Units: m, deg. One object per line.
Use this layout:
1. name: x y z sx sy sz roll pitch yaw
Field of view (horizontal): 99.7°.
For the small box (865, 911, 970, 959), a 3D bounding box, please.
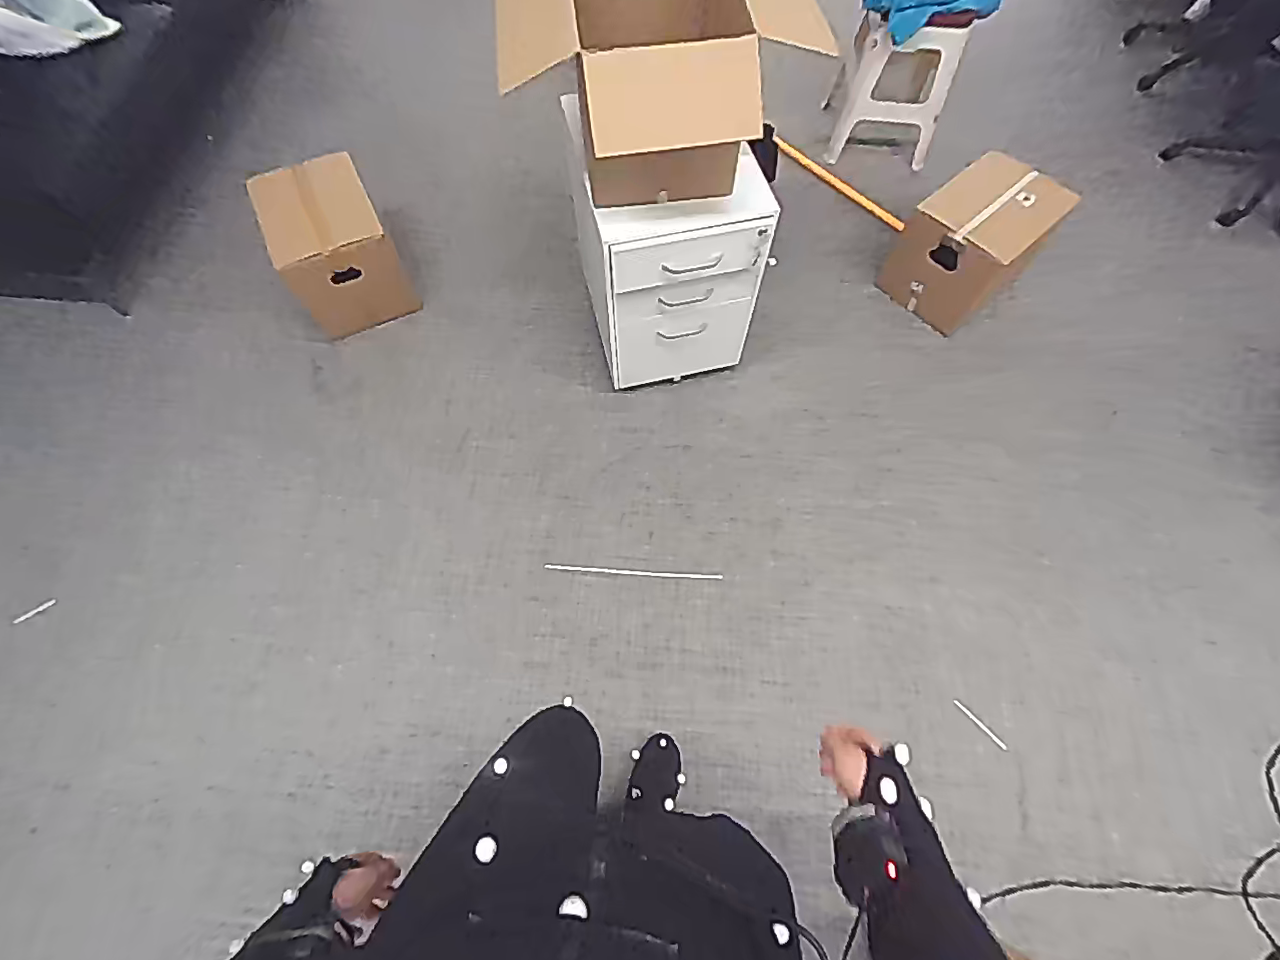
1. small box: 0.550 0.951 1.032 0.179 0.176 0.168 -3 66 -1
